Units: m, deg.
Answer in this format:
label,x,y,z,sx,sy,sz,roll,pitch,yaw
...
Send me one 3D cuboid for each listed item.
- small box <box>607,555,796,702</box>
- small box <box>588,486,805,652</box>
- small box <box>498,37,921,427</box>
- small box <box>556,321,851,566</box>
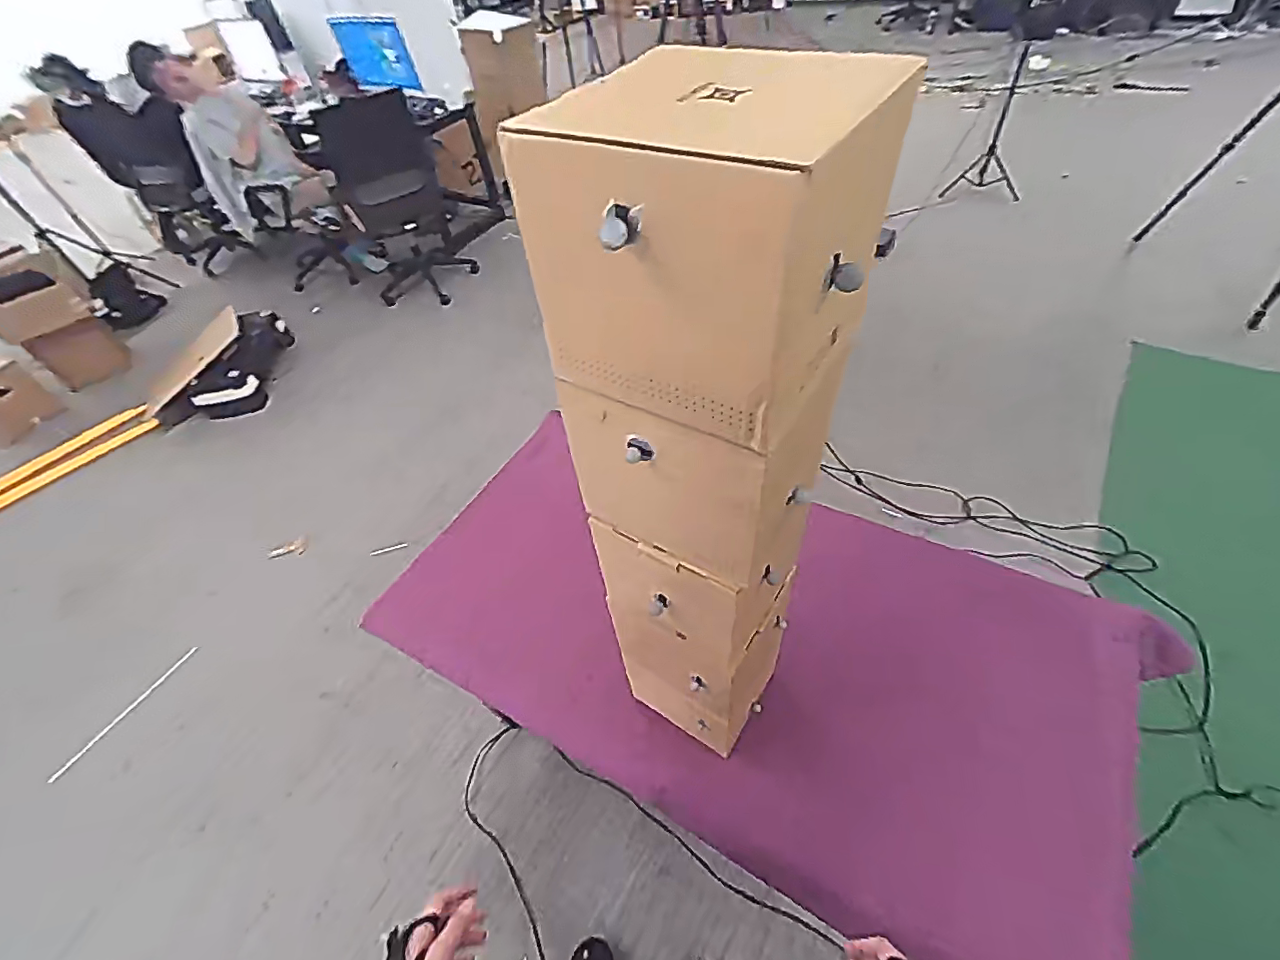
label,x,y,z,sx,sy,sz,roll,pitch,yaw
small box,0.083,0.166,0.717,0.179,0.176,0.168,25,57,26
small box,0.071,0.056,0.597,0.168,0.176,0.179,25,57,25
small box,0.047,-0.158,0.352,0.179,0.176,0.168,24,56,25
small box,0.056,-0.053,0.475,0.179,0.176,0.168,24,56,24
